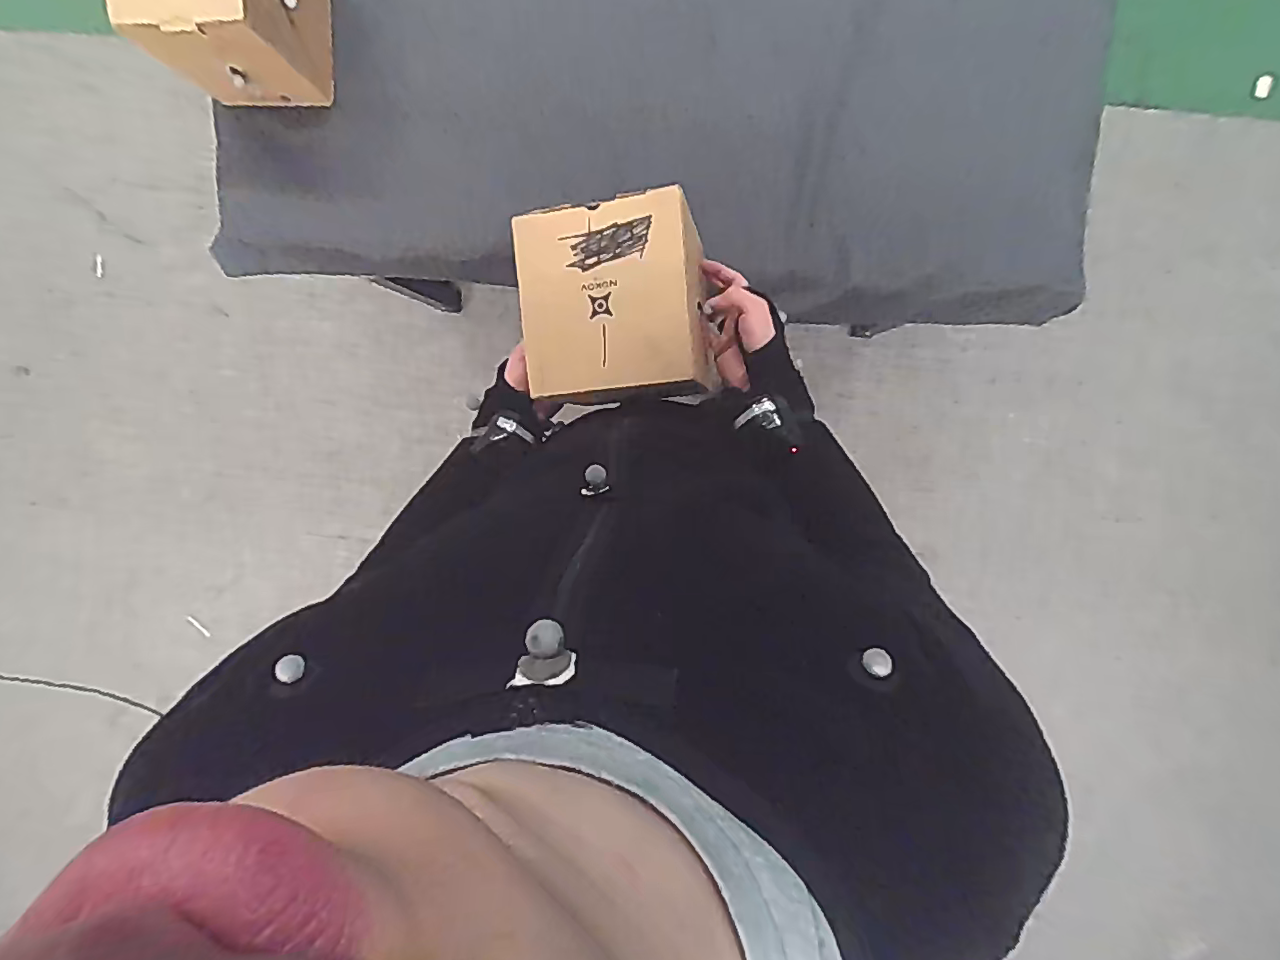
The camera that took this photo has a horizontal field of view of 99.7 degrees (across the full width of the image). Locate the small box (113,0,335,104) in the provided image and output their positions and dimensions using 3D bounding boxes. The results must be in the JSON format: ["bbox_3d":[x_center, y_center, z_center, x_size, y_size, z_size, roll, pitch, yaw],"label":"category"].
[{"bbox_3d":[-0.514,-0.611,0.685,0.168,0.176,0.179,2,98,2],"label":"small box"}]
